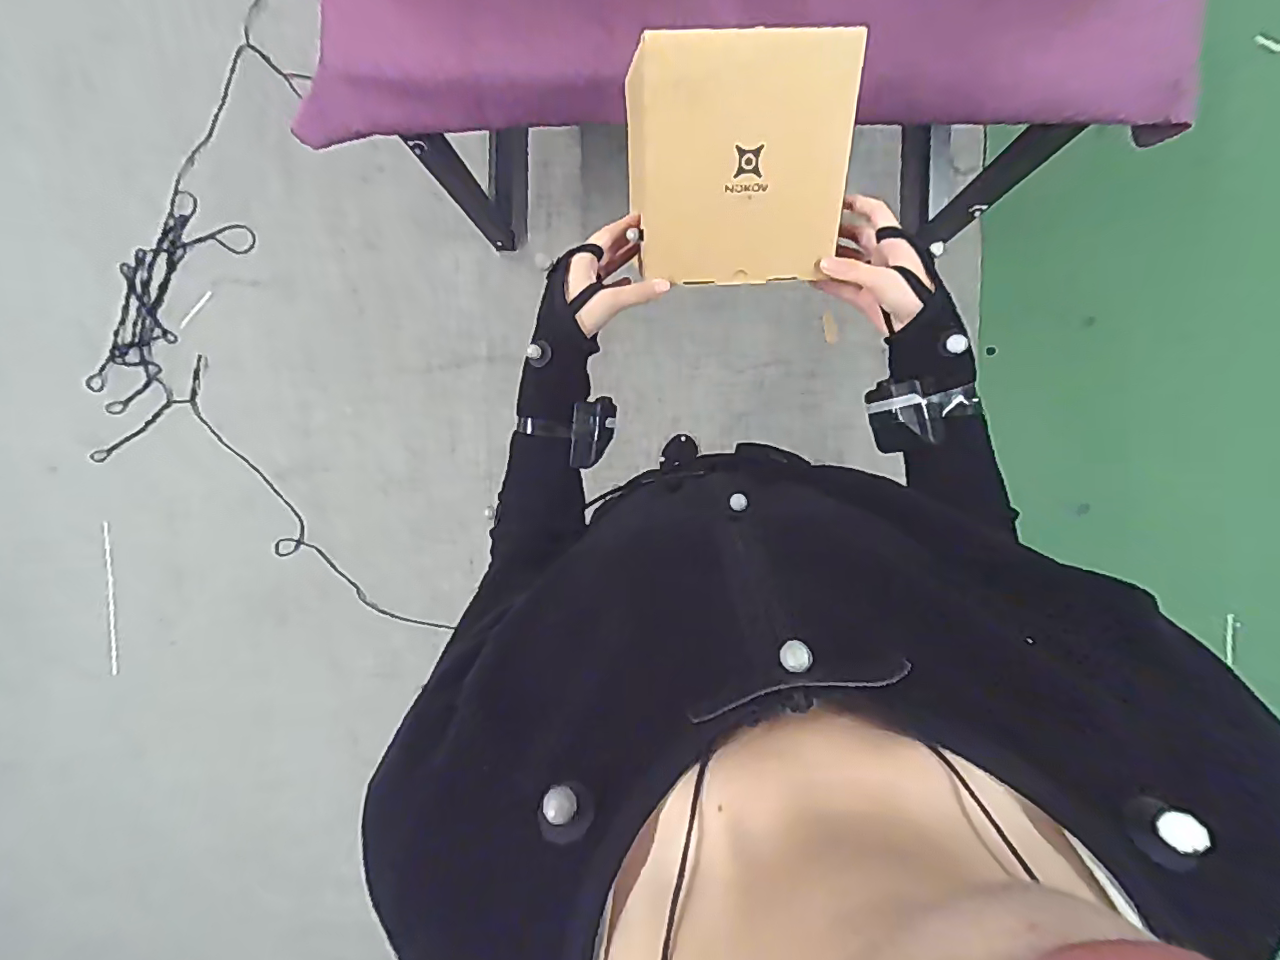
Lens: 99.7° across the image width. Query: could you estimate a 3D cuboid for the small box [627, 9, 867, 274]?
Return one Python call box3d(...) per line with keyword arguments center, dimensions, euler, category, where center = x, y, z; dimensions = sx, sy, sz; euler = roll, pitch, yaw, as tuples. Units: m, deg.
box3d(center=(0.077, -0.293, 0.492), dimensions=(0.168, 0.176, 0.179), euler=(-4, 120, -4), category="small box")
